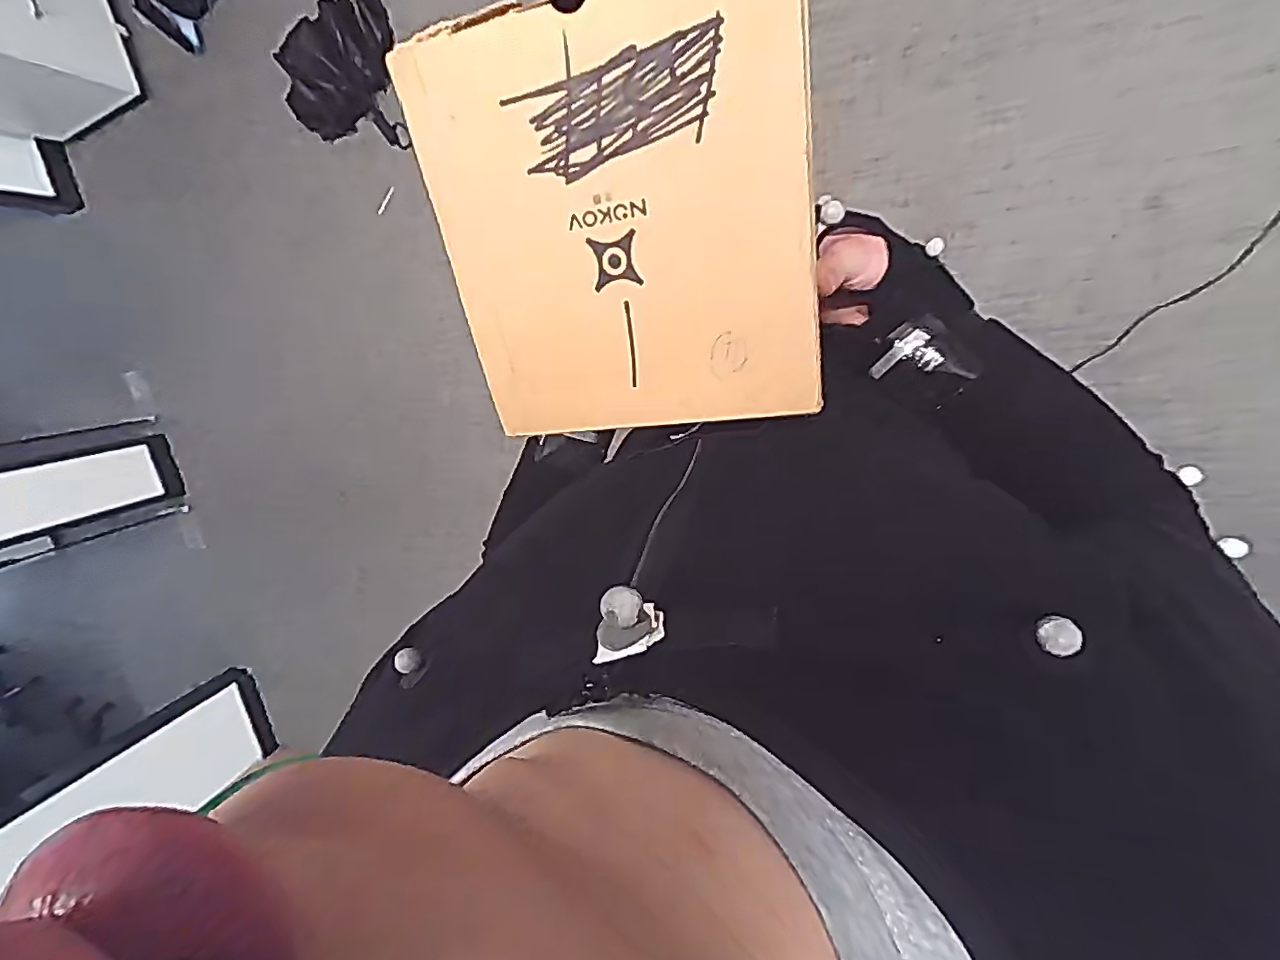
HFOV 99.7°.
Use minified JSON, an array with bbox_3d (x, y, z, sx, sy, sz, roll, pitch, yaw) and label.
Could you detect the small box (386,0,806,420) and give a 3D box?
[{"bbox_3d":[0.004,-0.148,0.305,0.168,0.176,0.179,-2,117,18],"label":"small box"}]
